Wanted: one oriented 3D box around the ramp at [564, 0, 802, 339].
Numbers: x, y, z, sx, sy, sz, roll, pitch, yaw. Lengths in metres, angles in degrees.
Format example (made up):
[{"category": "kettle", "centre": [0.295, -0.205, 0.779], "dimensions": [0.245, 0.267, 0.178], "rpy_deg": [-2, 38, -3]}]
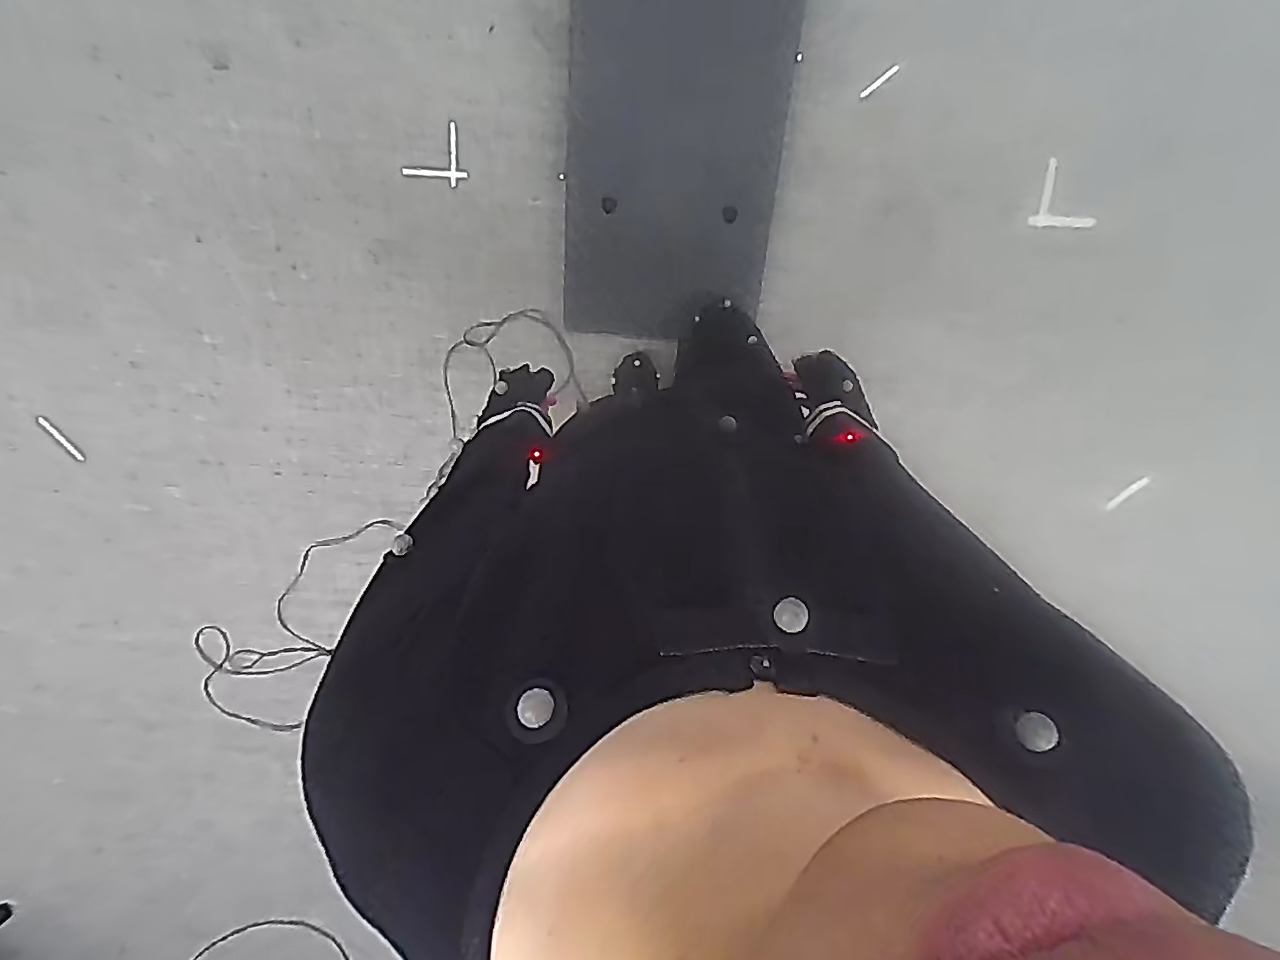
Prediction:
[{"category": "ramp", "centre": [0.082, -0.831, 1.192], "dimensions": [0.509, 0.206, 0.991], "rpy_deg": [1, 104, -4]}]
